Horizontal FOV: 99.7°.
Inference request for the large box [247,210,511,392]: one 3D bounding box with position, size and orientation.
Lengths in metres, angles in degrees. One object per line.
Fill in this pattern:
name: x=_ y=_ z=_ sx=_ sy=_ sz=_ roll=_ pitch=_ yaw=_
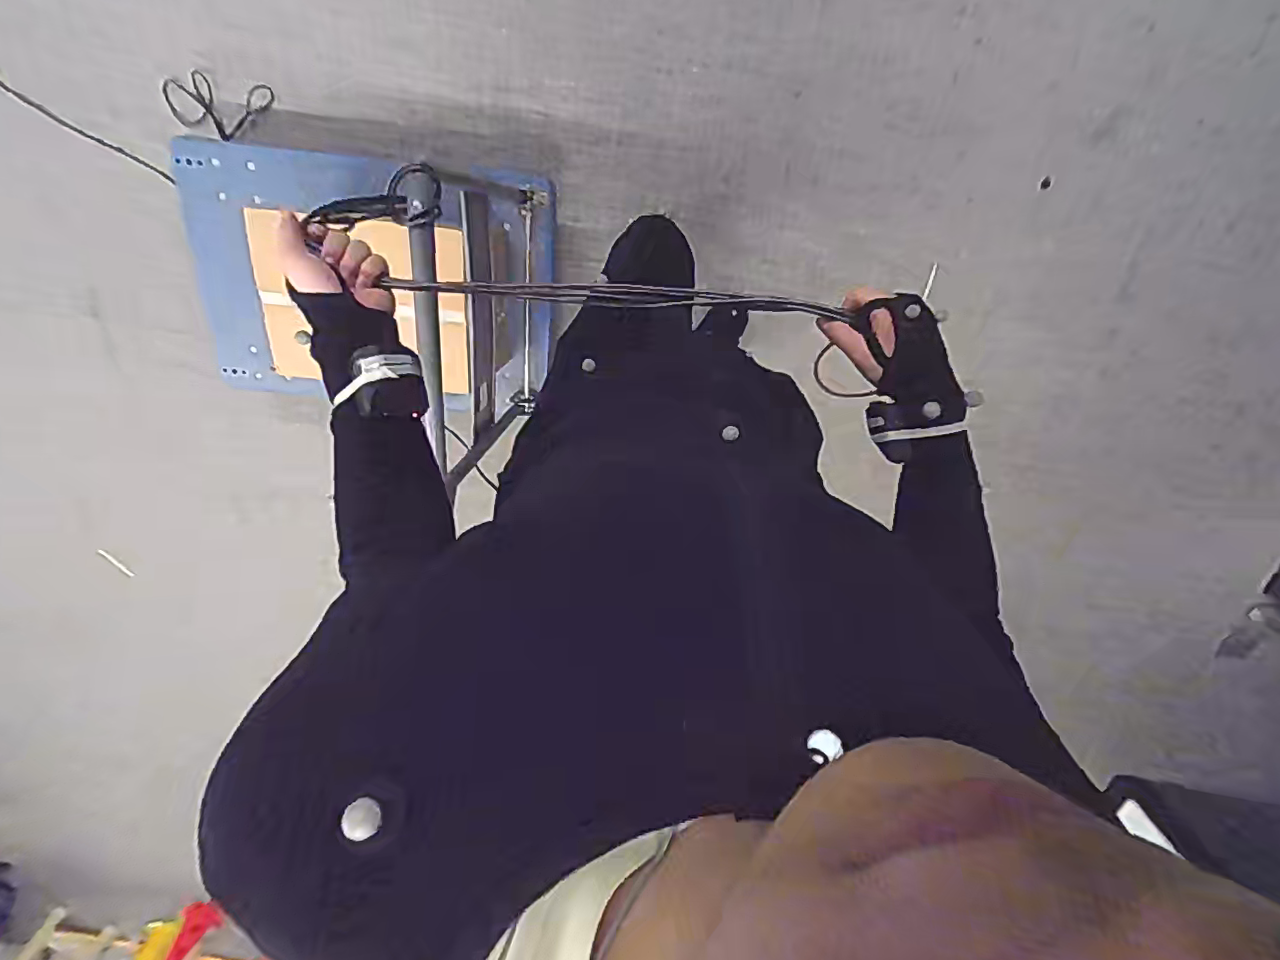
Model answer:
large box: x=-0.520 y=-0.397 z=1.174 sx=0.408 sy=0.320 sz=0.320 roll=6 pitch=114 yaw=1
